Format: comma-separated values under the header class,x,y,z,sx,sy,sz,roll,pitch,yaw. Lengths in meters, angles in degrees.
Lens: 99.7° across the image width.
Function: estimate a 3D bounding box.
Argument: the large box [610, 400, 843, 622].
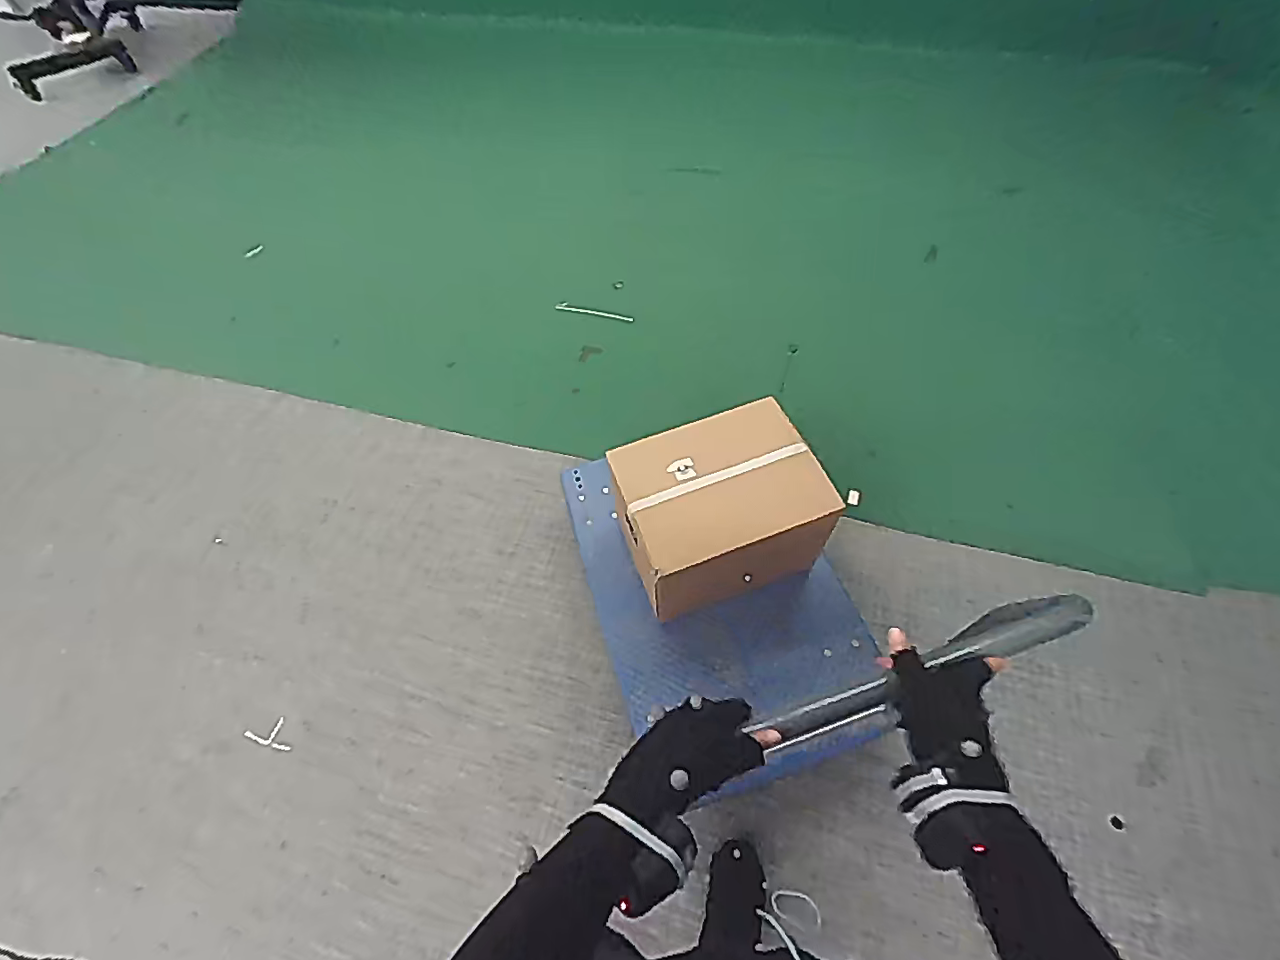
class,x,y,z,sx,sy,sz,roll,pitch,yaw
large box,0.182,0.079,1.255,0.408,0.320,0.320,-20,59,-8
